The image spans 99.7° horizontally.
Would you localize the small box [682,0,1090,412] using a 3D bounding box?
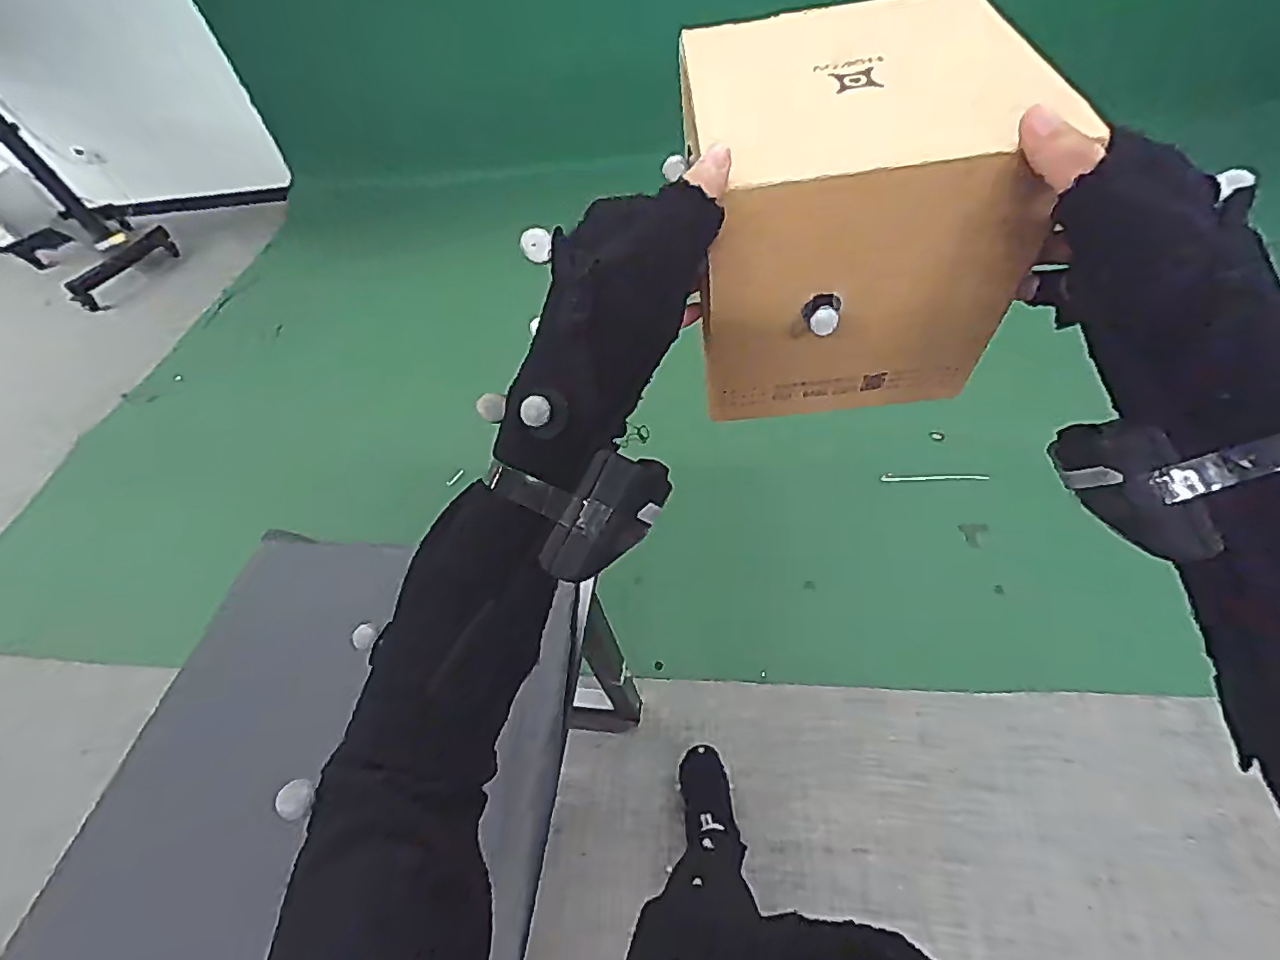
[{"bbox_3d":[0.119,-0.157,0.345,0.168,0.176,0.179,-5,57,6],"label":"small box"}]
